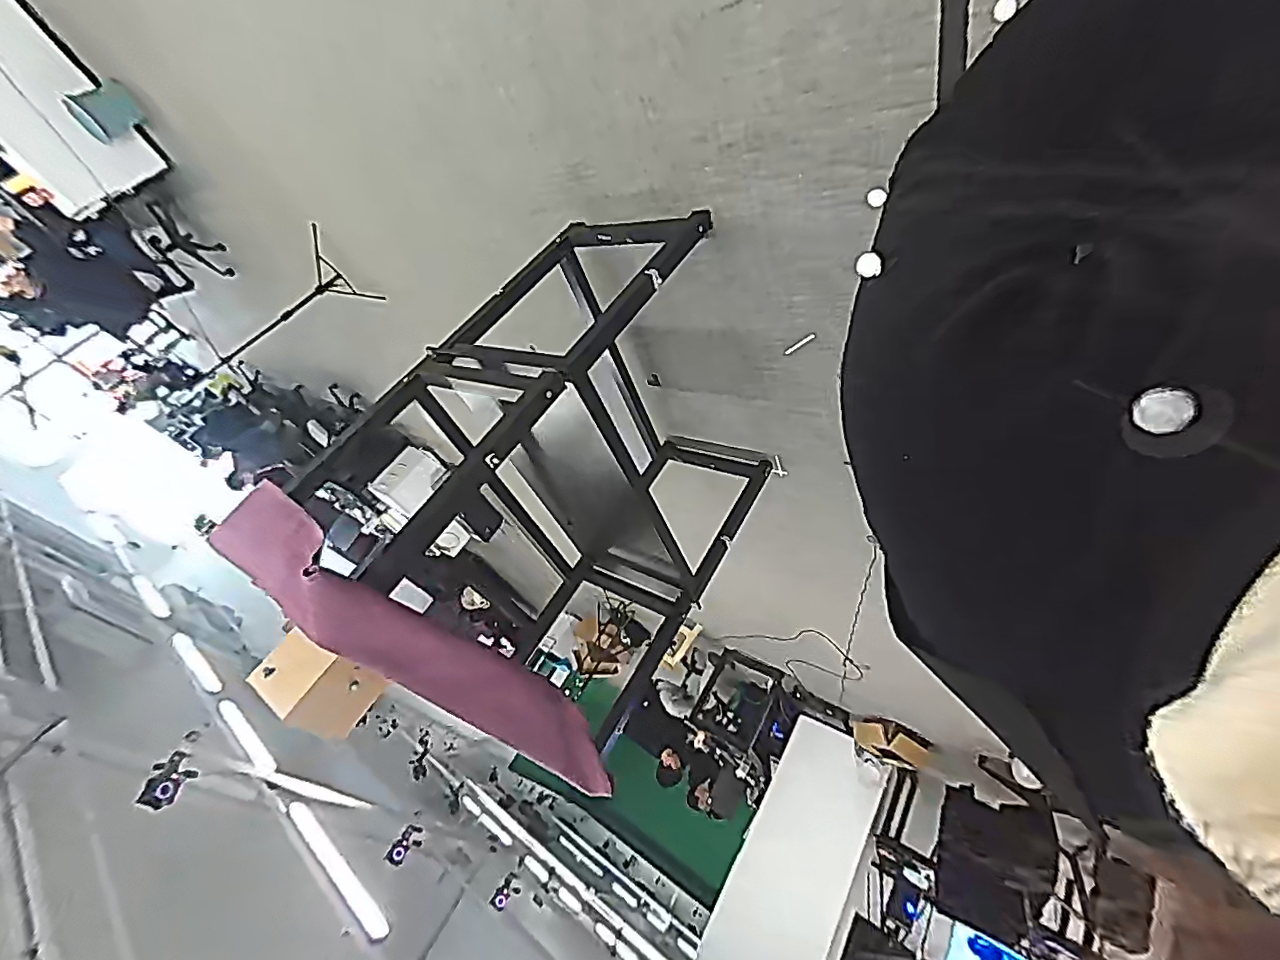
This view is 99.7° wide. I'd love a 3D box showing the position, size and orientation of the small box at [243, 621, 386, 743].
[{"bbox_3d":[-0.696,0.429,1.172,0.179,0.176,0.168,18,151,33],"label":"small box"}]
